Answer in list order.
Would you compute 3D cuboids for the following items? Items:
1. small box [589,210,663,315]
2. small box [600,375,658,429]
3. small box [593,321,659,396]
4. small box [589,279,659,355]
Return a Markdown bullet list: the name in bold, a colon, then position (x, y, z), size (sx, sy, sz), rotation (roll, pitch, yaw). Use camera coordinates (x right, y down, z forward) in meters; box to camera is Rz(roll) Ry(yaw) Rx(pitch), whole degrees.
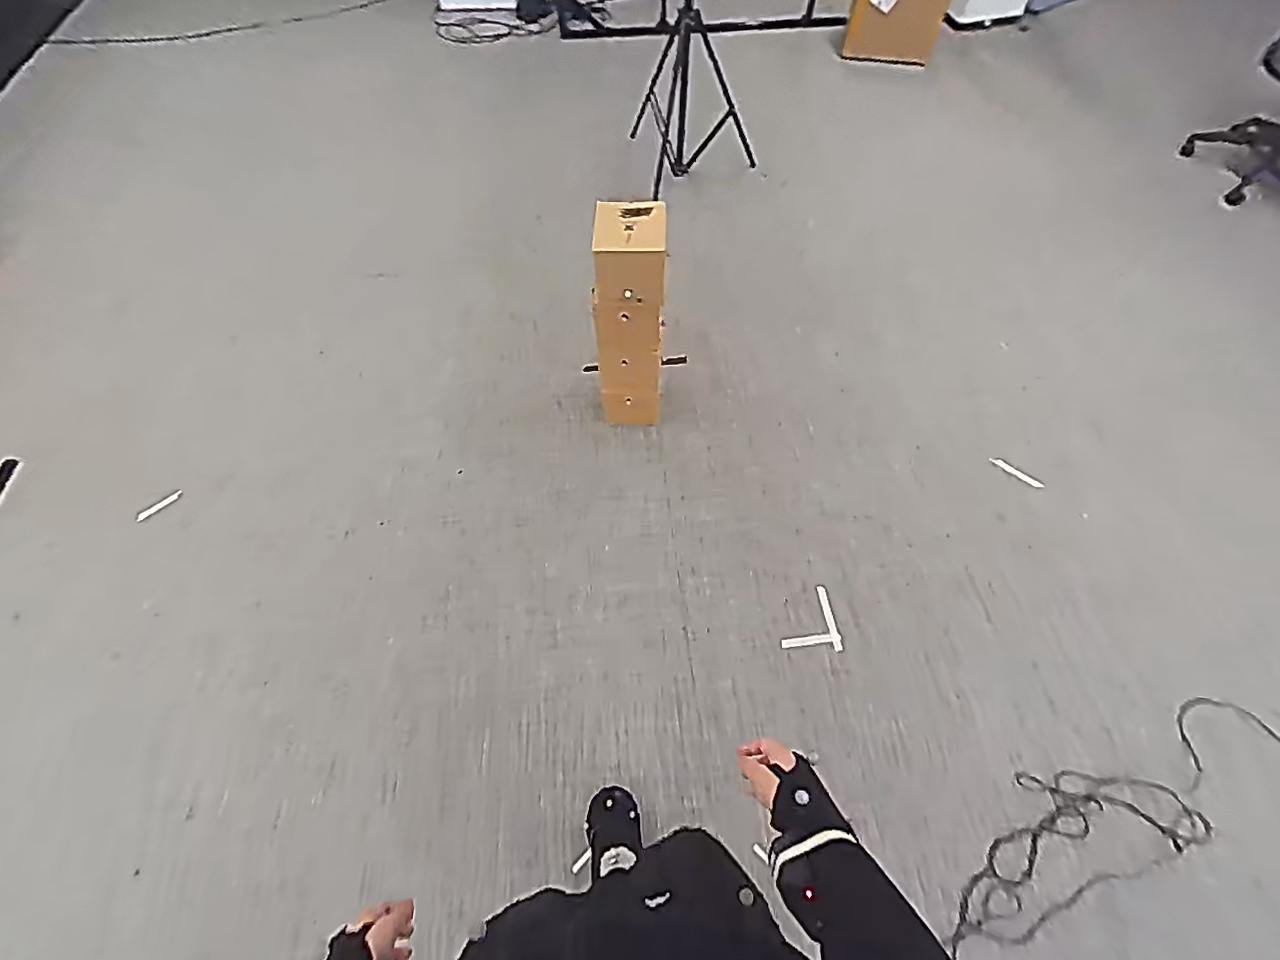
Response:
- **small box**: position (-0.028, -0.529, 1.318), size (0.168, 0.176, 0.179), rotation (1, 62, 2)
- **small box**: position (-0.032, -0.276, 1.738), size (0.179, 0.176, 0.168), rotation (1, 61, 2)
- **small box**: position (-0.035, -0.365, 1.599), size (0.179, 0.176, 0.168), rotation (4, 61, 3)
- **small box**: position (-0.038, -0.451, 1.463), size (0.179, 0.176, 0.168), rotation (2, 61, 1)
